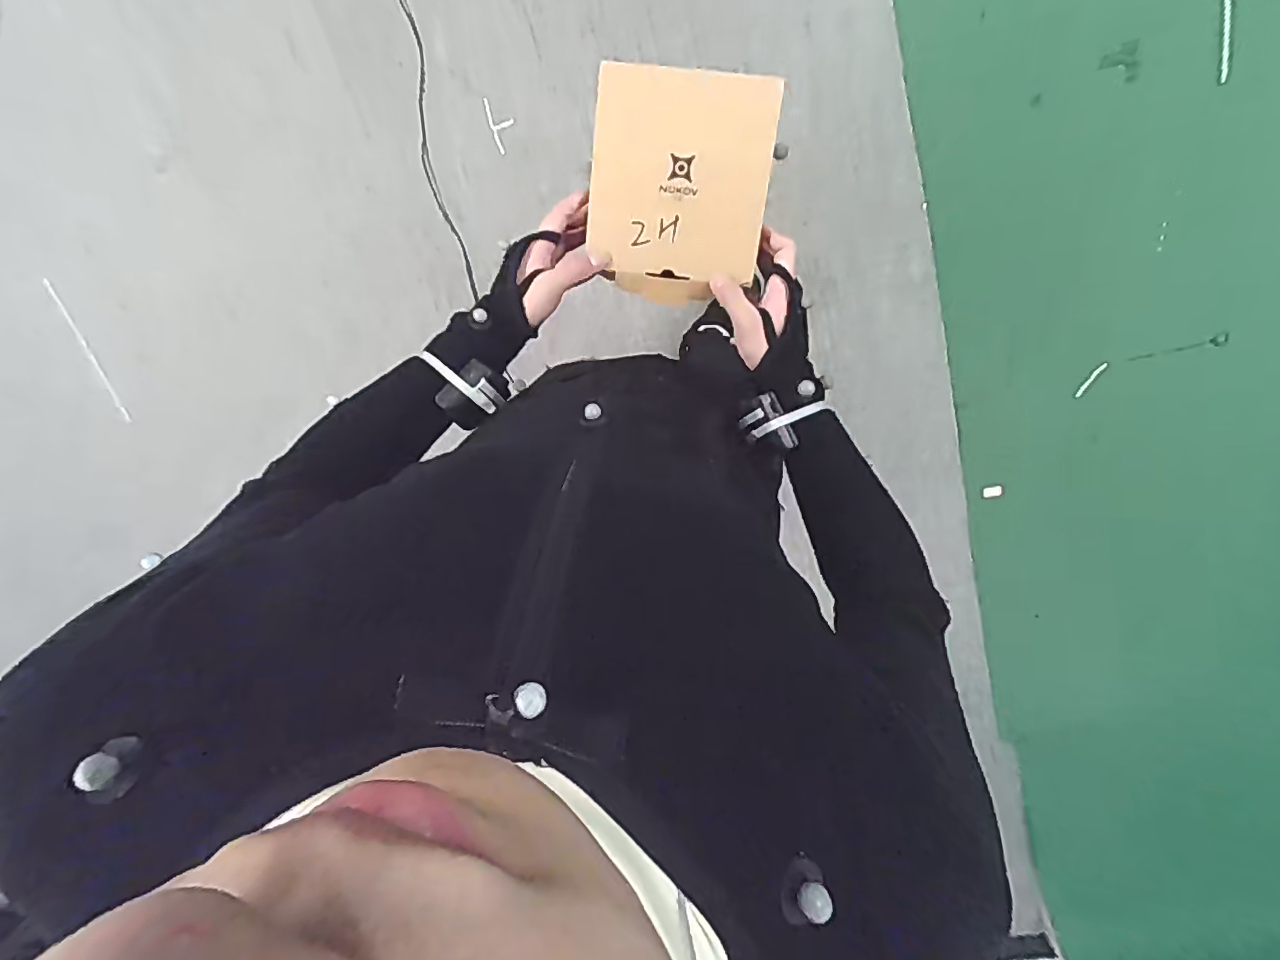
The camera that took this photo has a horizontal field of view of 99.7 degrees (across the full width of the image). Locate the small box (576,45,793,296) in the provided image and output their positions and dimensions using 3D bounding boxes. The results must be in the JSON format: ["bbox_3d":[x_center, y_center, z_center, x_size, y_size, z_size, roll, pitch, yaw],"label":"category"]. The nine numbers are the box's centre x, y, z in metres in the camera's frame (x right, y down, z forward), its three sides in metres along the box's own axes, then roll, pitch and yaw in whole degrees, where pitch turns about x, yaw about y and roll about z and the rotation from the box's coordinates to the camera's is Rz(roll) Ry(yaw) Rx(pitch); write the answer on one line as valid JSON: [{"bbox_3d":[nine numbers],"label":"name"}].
[{"bbox_3d":[0.043,-0.301,0.567,0.168,0.176,0.179,14,109,3],"label":"small box"}]
